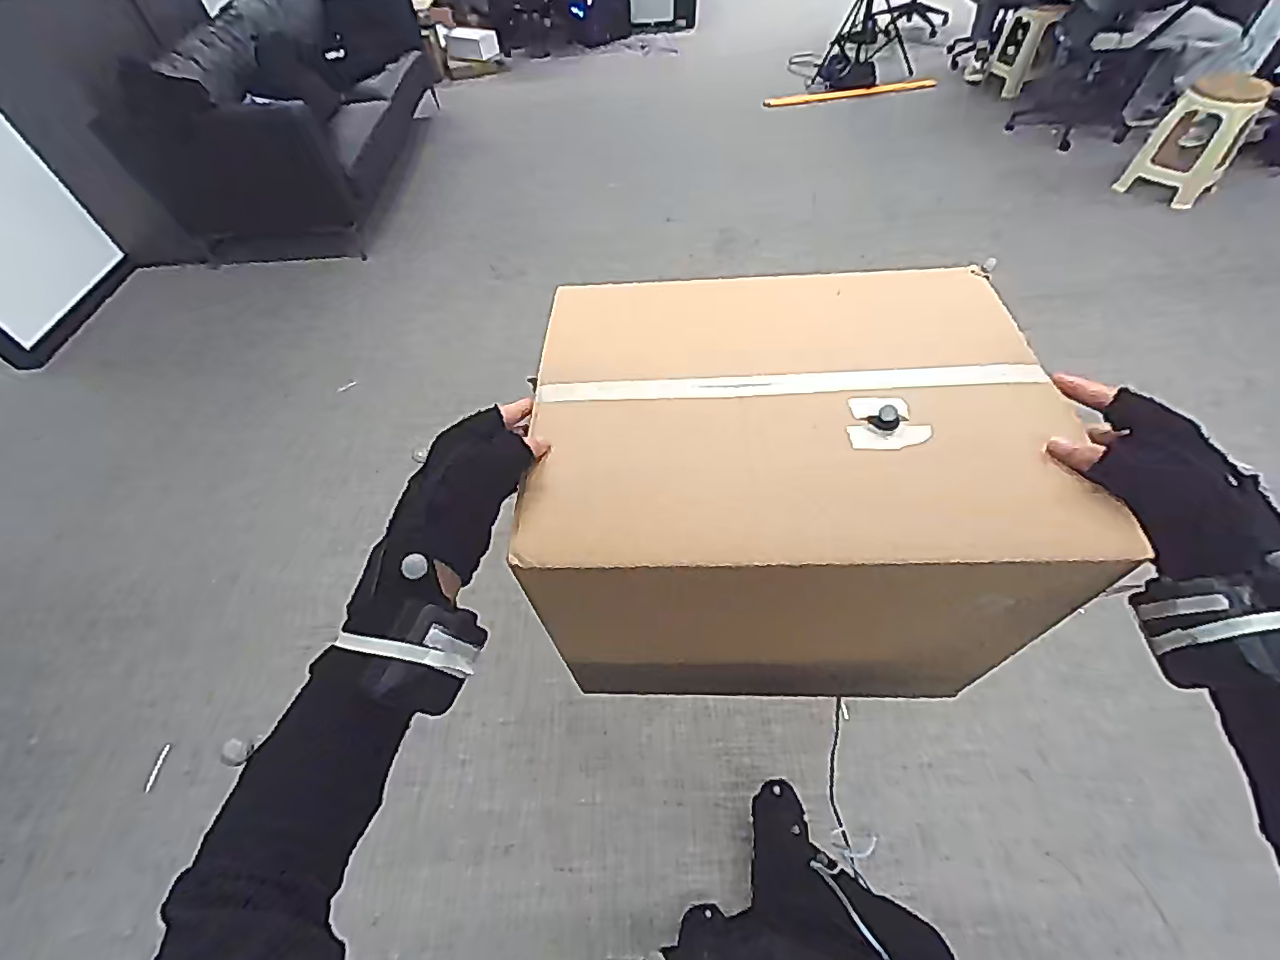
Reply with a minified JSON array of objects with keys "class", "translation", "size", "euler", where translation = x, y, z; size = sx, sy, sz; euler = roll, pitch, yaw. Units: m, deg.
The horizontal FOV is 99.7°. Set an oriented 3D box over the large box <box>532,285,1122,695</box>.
[{"class":"large box","translation":[0.129,0.023,0.570],"size":[0.408,0.320,0.320],"euler":[-1,54,3]}]
